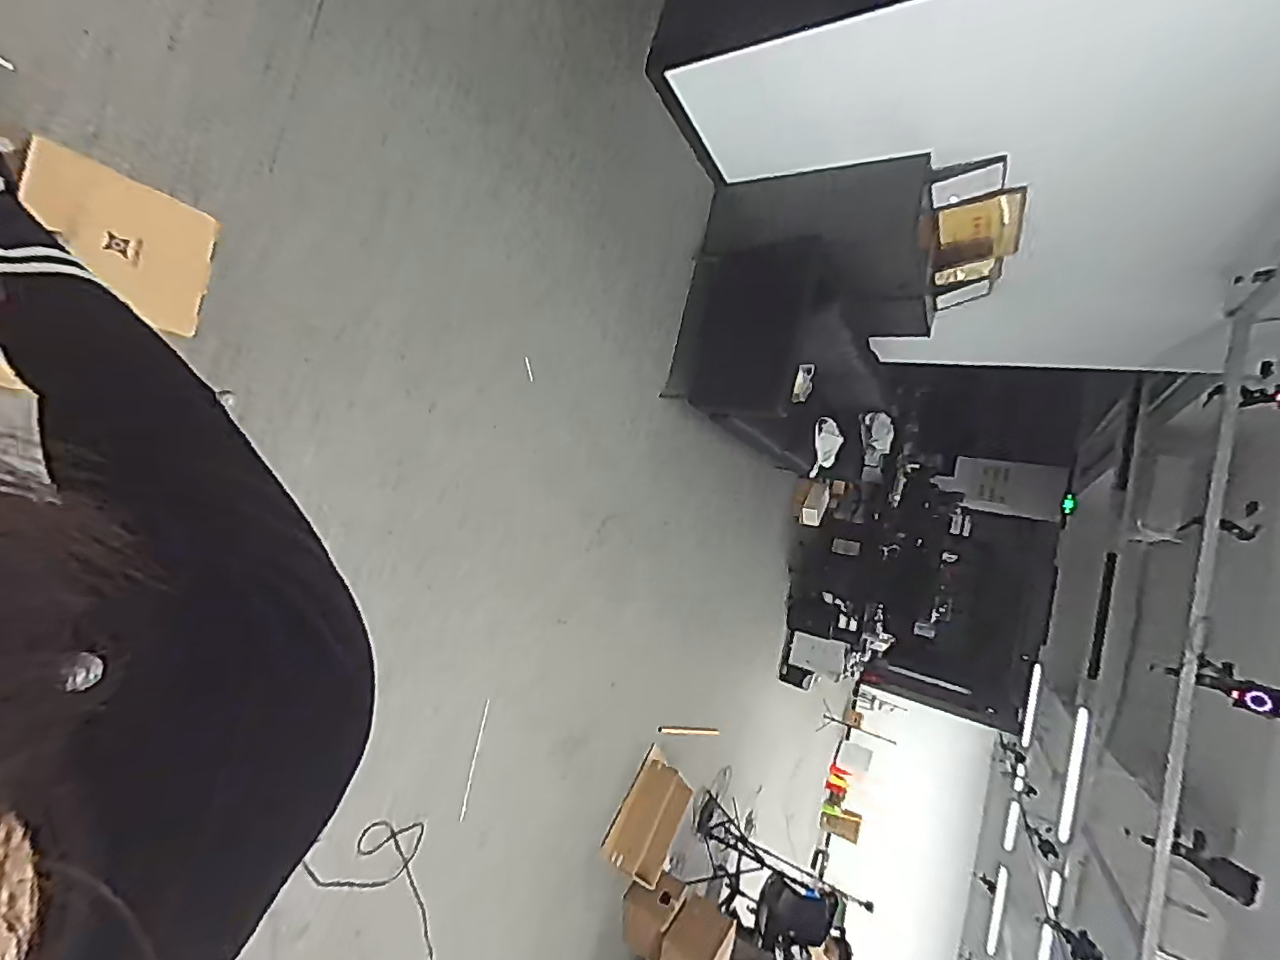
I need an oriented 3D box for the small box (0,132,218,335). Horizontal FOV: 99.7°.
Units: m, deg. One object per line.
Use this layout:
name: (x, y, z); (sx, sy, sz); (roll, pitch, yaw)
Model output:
small box: (-0.692, -0.296, 0.689); (0.179, 0.176, 0.168); (17, 83, -57)
